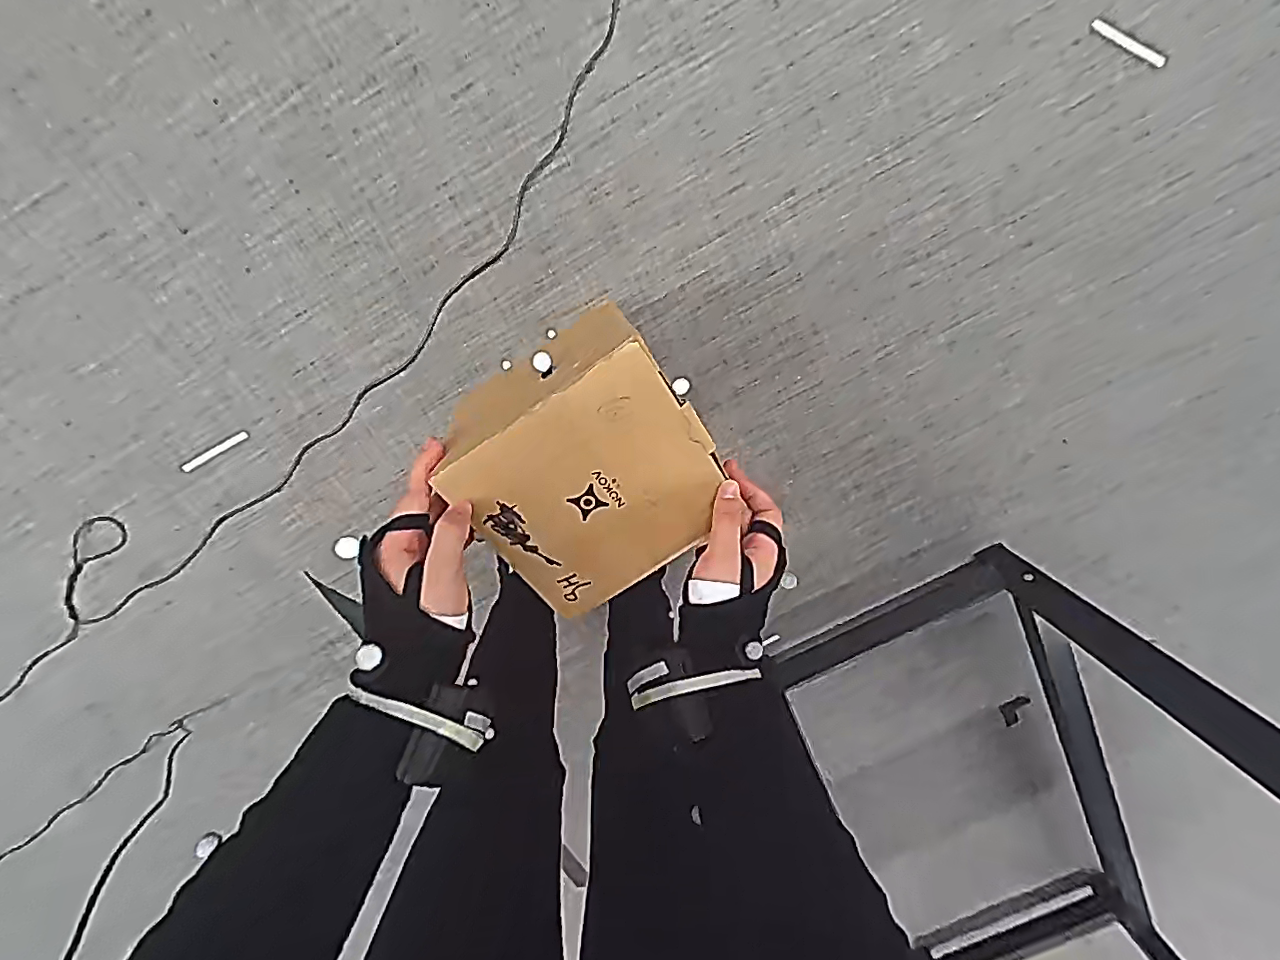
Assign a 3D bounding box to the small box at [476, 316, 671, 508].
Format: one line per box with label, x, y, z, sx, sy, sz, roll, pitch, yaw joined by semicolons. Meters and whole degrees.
small box;-0.081;-0.097;0.714;0.179;0.176;0.168;-34;109;7
